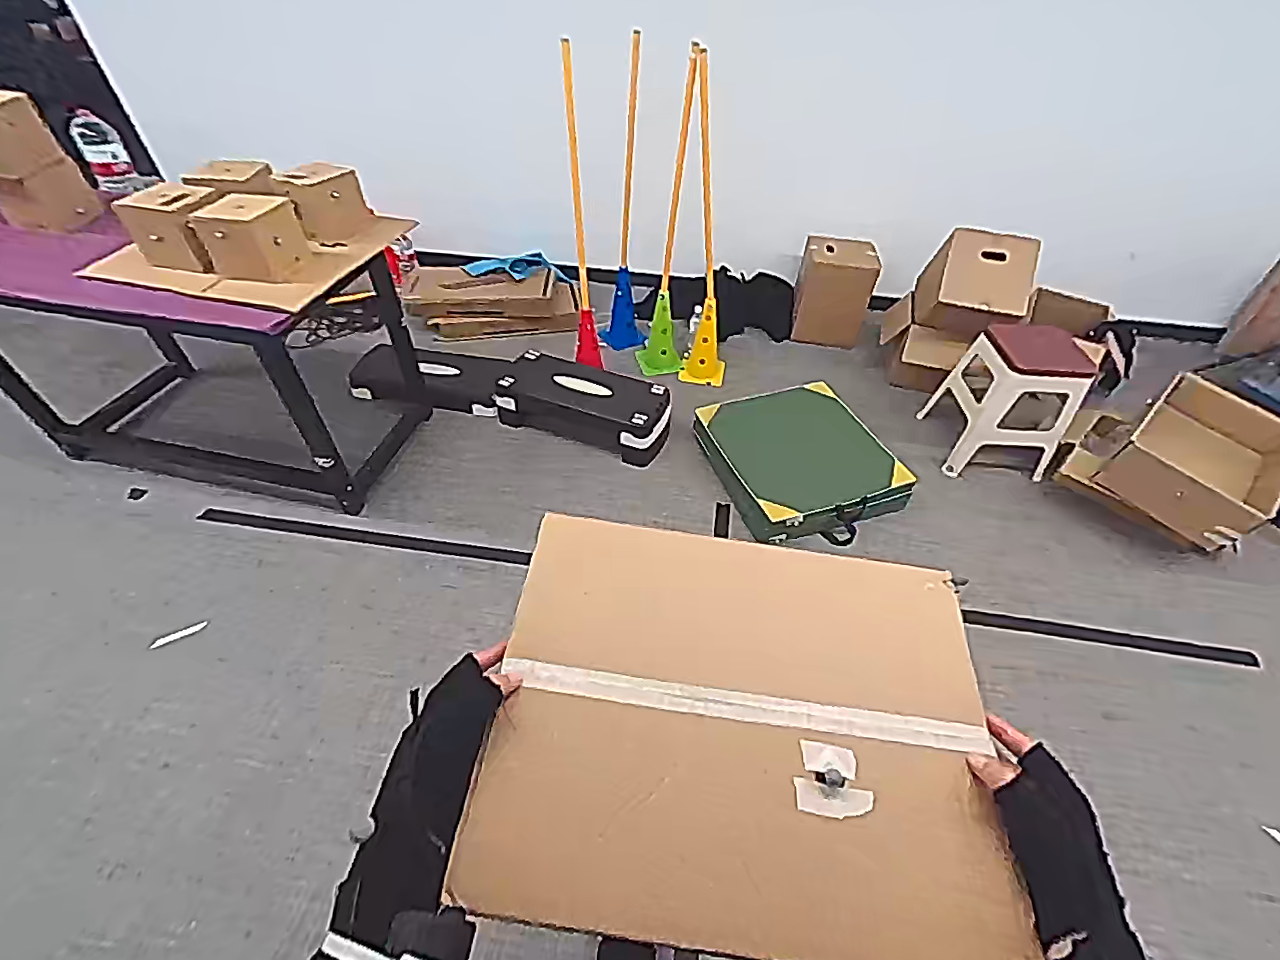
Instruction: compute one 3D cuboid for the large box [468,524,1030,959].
[{"bbox_3d":[0.079,0.277,0.579,0.408,0.320,0.320,8,55,1],"label":"large box"}]
